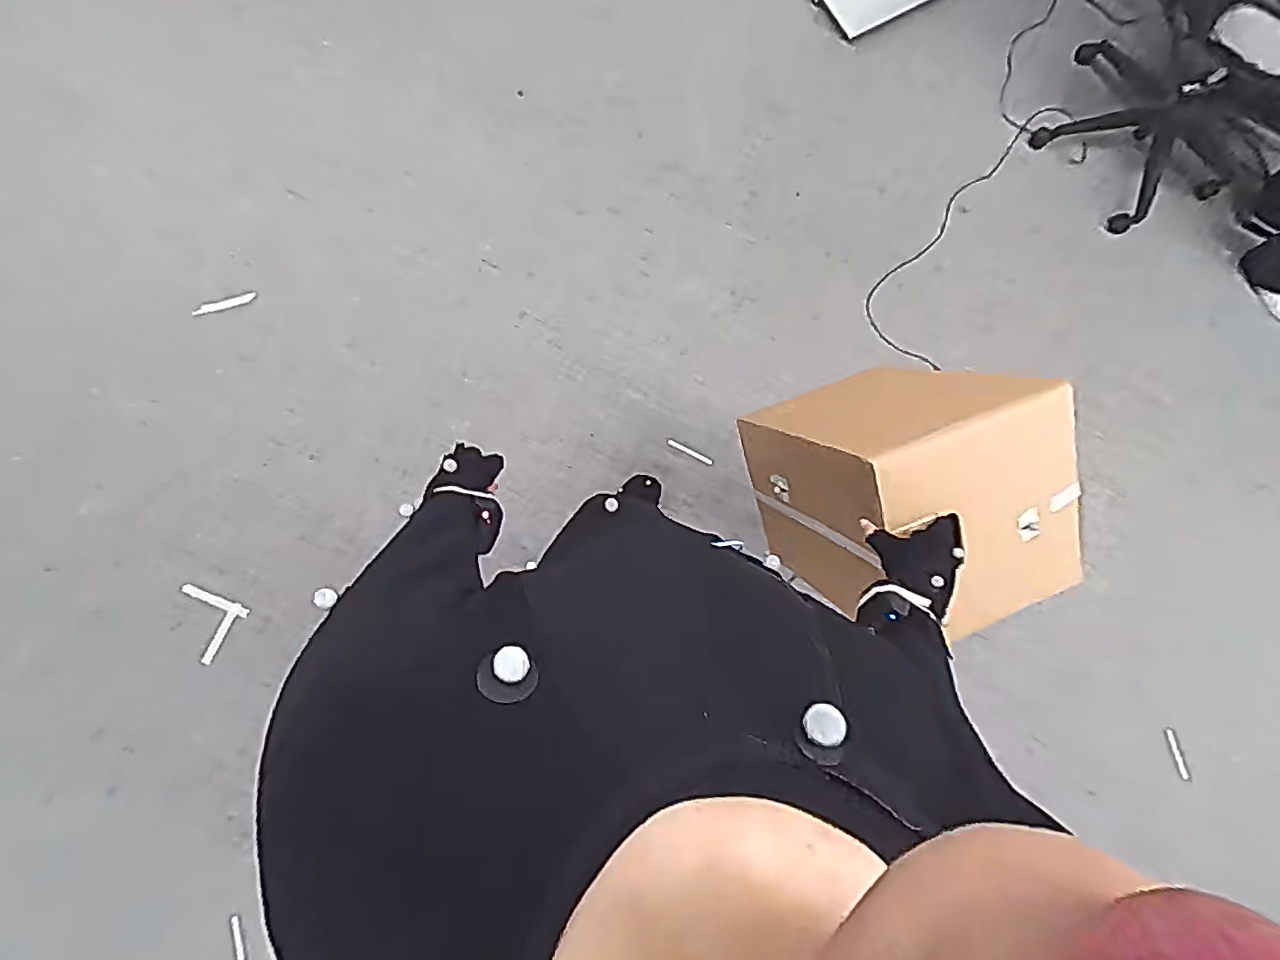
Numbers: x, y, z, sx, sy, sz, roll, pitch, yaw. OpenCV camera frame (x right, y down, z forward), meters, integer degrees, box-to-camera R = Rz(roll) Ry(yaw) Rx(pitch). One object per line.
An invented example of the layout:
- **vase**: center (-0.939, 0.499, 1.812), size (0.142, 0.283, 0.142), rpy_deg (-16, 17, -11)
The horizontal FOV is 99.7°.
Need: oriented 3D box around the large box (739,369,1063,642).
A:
- **large box**: center (0.422, 0.005, 0.943), size (0.320, 0.408, 0.320), rpy_deg (-19, 108, -8)
